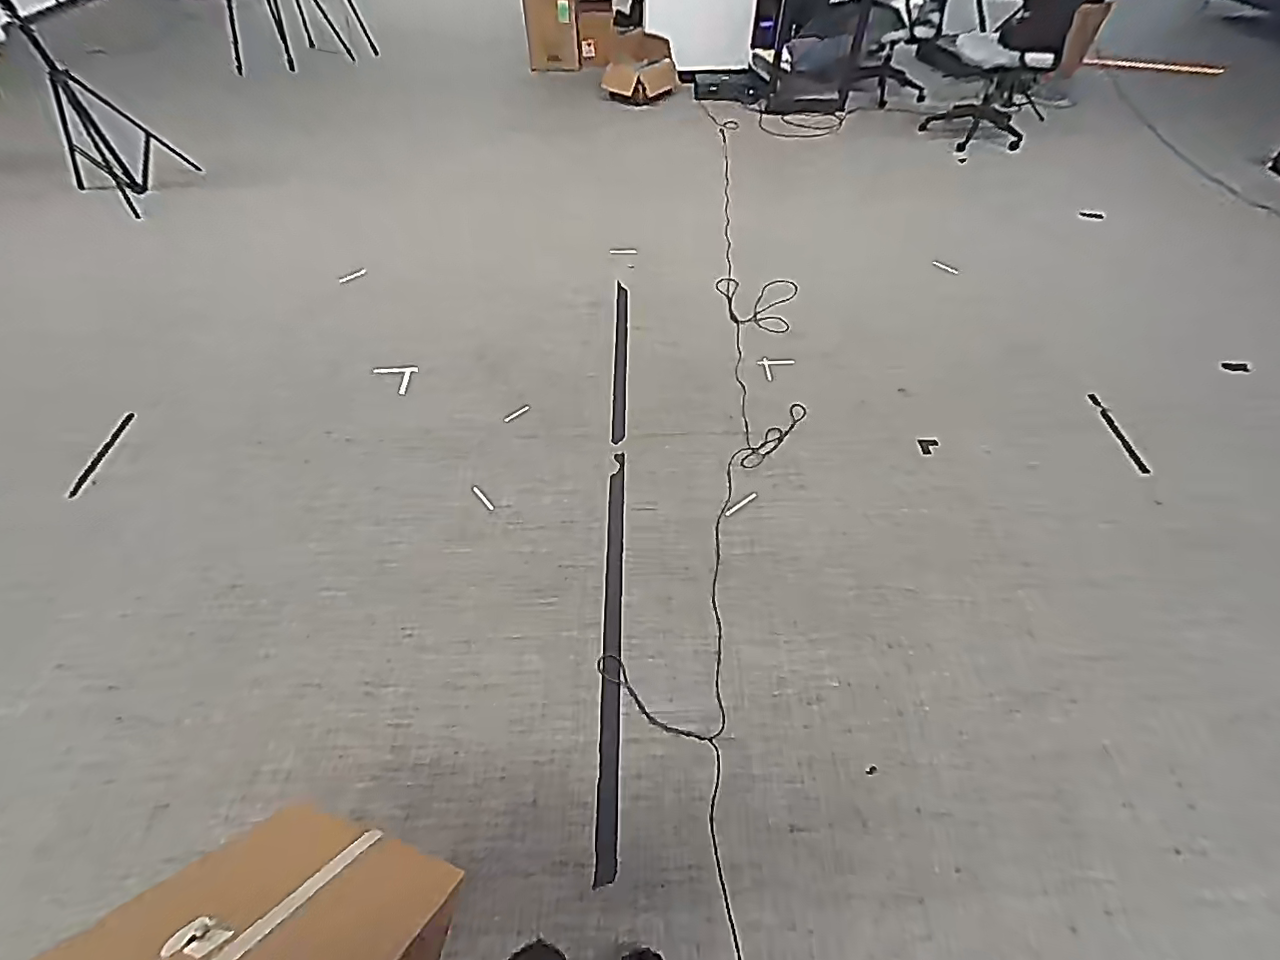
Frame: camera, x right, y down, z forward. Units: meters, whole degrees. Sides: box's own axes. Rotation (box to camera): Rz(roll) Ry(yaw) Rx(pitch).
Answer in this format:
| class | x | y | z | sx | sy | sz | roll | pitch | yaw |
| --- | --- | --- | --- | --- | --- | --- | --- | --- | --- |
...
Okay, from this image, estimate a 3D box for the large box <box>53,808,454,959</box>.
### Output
| class | x | y | z | sx | sy | sz | roll | pitch | yaw |
| --- | --- | --- | --- | --- | --- | --- | --- | --- | --- |
| large box | -0.496 | 0.701 | 0.660 | 0.320 | 0.408 | 0.320 | 14 | 86 | 10 |
